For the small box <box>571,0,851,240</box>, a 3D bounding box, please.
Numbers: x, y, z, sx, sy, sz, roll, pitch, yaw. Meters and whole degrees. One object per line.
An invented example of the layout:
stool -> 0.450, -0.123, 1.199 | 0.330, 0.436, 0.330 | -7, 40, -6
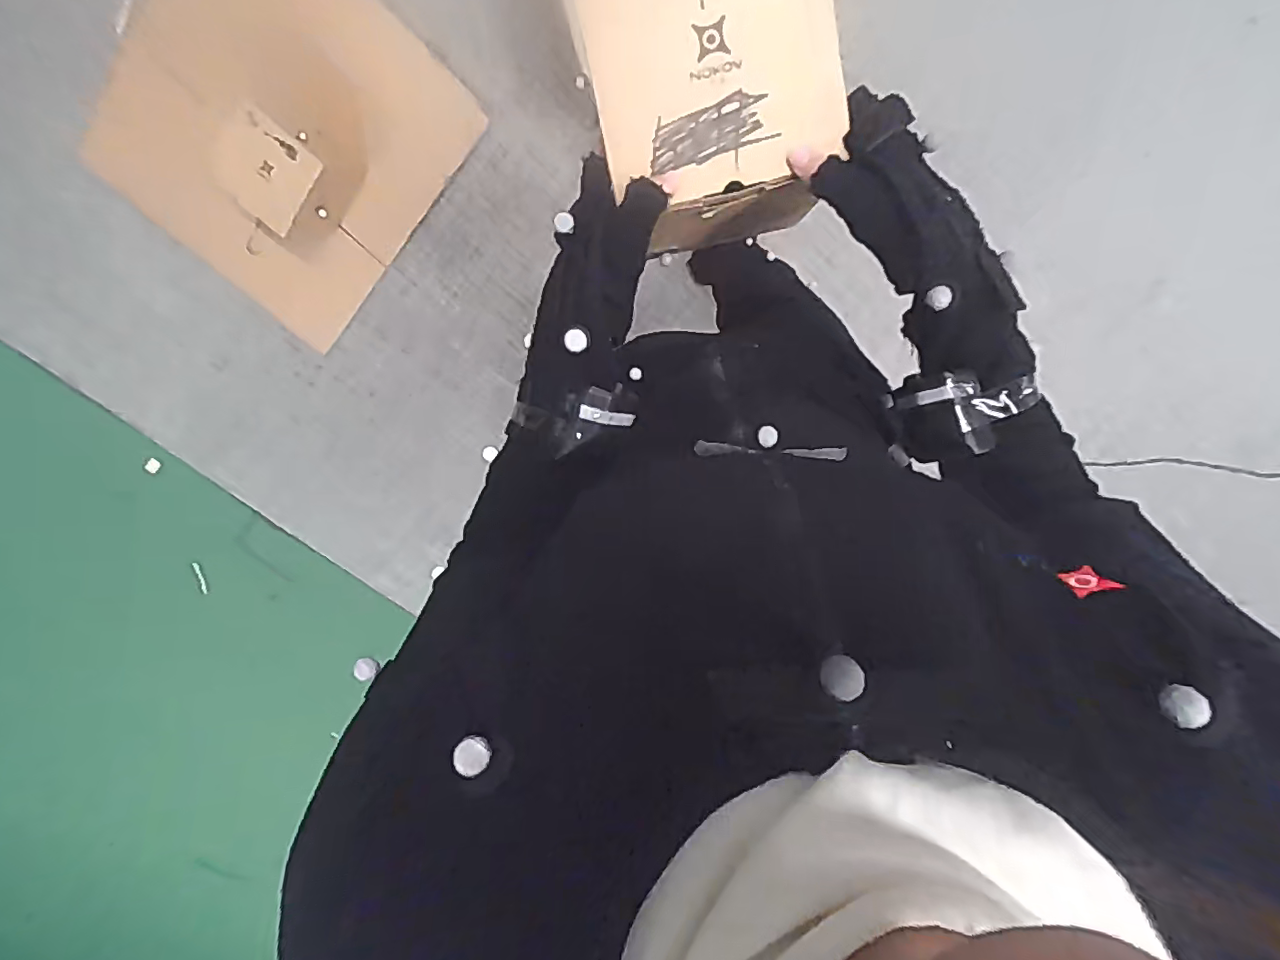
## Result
small box -> 0.052, -0.311, 0.440 | 0.168, 0.176, 0.179 | -15, 102, 7

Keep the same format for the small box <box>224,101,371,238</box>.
small box -> -0.695, -0.628, 1.117 | 0.168, 0.176, 0.179 | 38, 112, -12
